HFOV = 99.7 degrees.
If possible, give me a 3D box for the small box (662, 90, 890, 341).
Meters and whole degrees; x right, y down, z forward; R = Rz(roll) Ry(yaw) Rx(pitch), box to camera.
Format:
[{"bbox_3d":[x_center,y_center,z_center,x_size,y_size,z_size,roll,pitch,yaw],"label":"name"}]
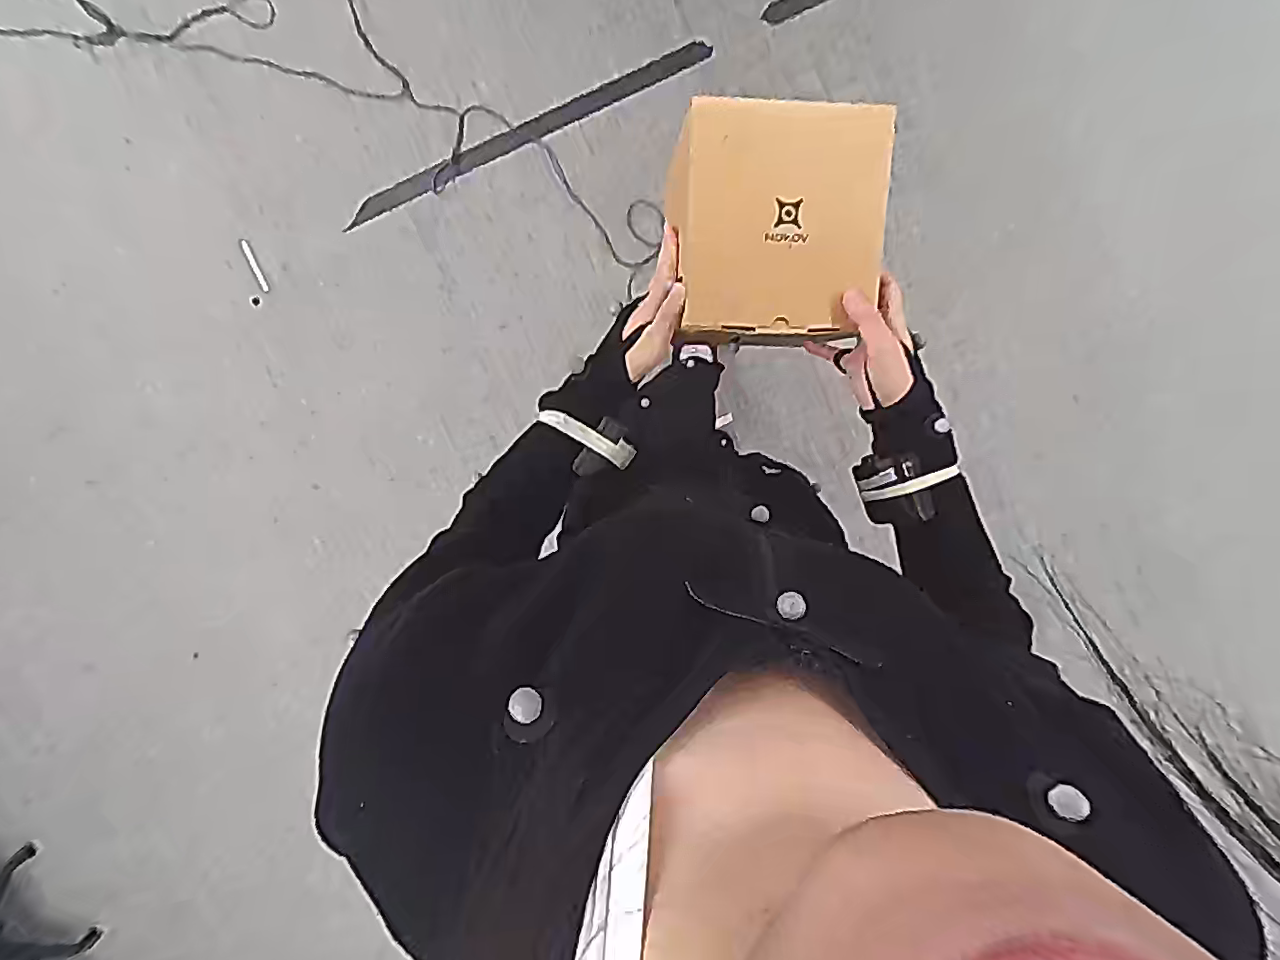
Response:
[{"bbox_3d":[0.112,-0.230,0.517,0.168,0.176,0.179,0,101,-4],"label":"small box"}]
